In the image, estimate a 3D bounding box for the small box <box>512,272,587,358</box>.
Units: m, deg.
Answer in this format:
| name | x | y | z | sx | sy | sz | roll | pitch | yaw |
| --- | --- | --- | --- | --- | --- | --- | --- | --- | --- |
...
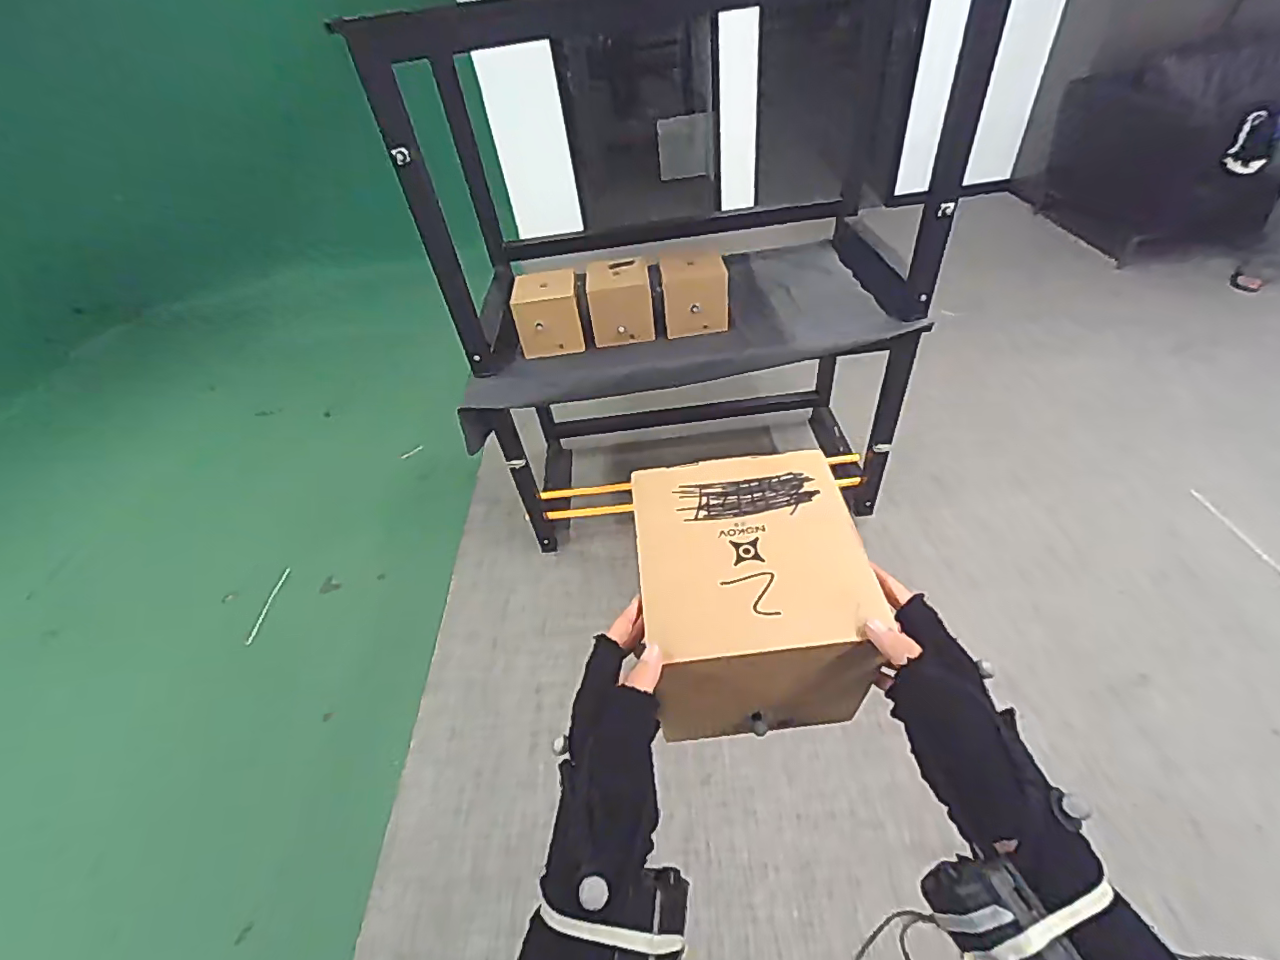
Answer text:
| name | x | y | z | sx | sy | sz | roll | pitch | yaw |
| --- | --- | --- | --- | --- | --- | --- | --- | --- | --- |
| small box | -0.240 | -0.446 | 1.485 | 0.168 | 0.176 | 0.179 | -7 | 43 | 1 |
